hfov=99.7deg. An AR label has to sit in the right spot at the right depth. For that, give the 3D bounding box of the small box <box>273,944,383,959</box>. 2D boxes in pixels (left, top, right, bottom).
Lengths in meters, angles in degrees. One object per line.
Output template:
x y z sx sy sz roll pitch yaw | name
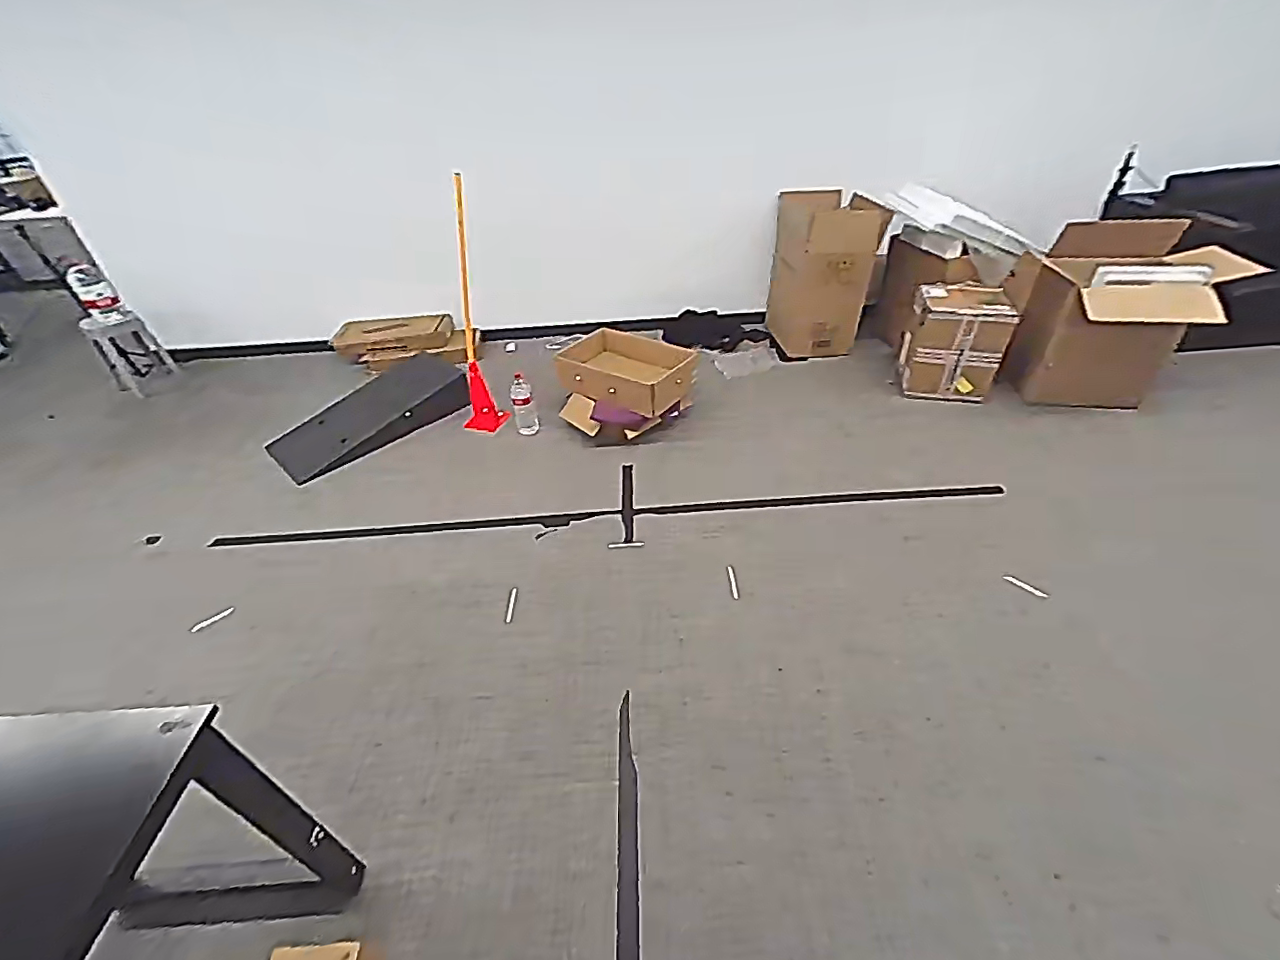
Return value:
-0.630 1.043 1.063 0.179 0.176 0.168 -4 39 0 | small box
